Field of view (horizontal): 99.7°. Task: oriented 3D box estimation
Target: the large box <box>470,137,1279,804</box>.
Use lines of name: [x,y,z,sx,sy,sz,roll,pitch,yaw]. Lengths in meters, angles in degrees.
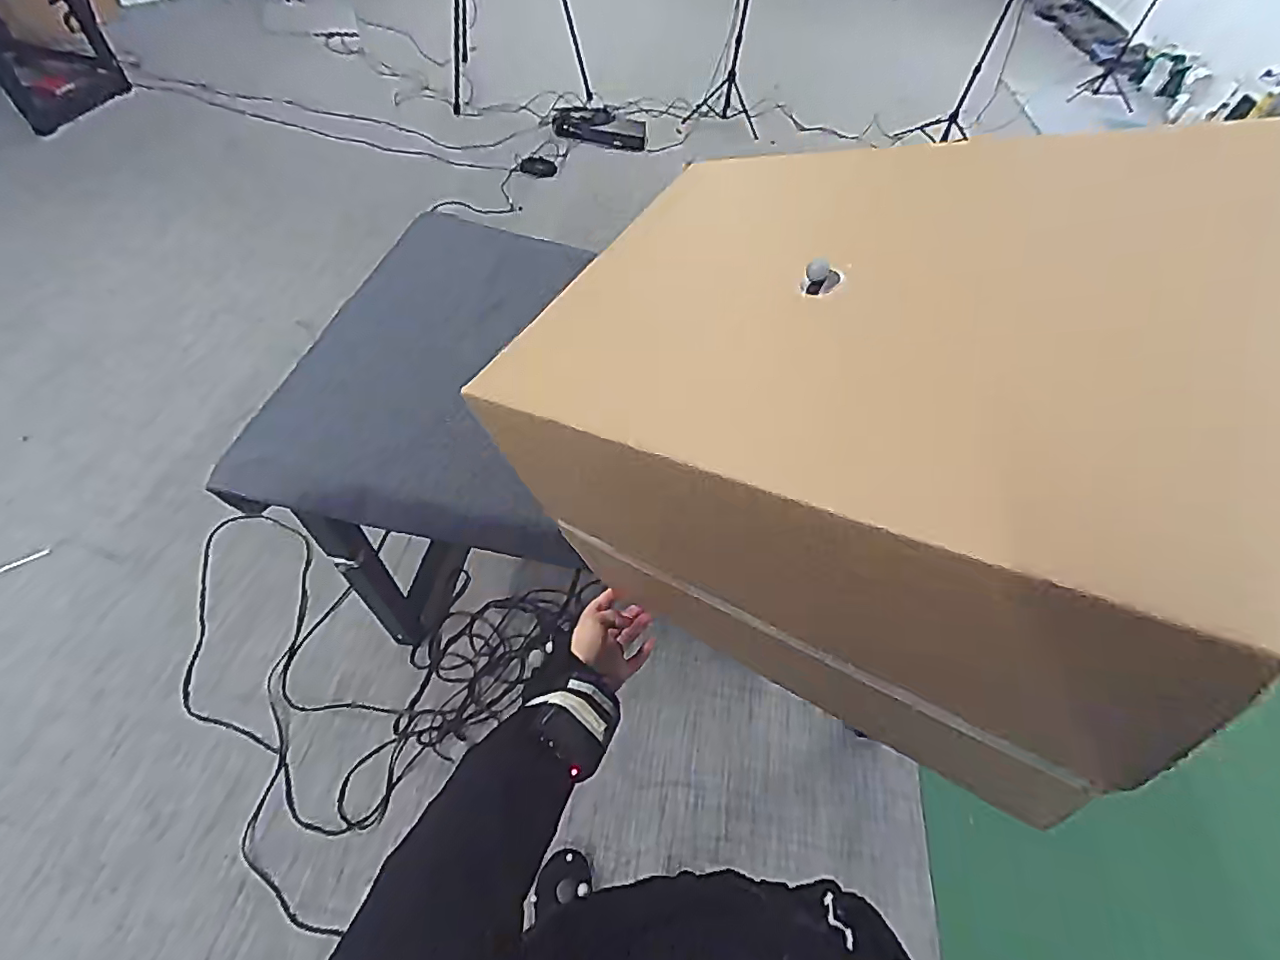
large box: [0.158,-0.021,0.431,0.408,0.320,0.320,19,62,34]
